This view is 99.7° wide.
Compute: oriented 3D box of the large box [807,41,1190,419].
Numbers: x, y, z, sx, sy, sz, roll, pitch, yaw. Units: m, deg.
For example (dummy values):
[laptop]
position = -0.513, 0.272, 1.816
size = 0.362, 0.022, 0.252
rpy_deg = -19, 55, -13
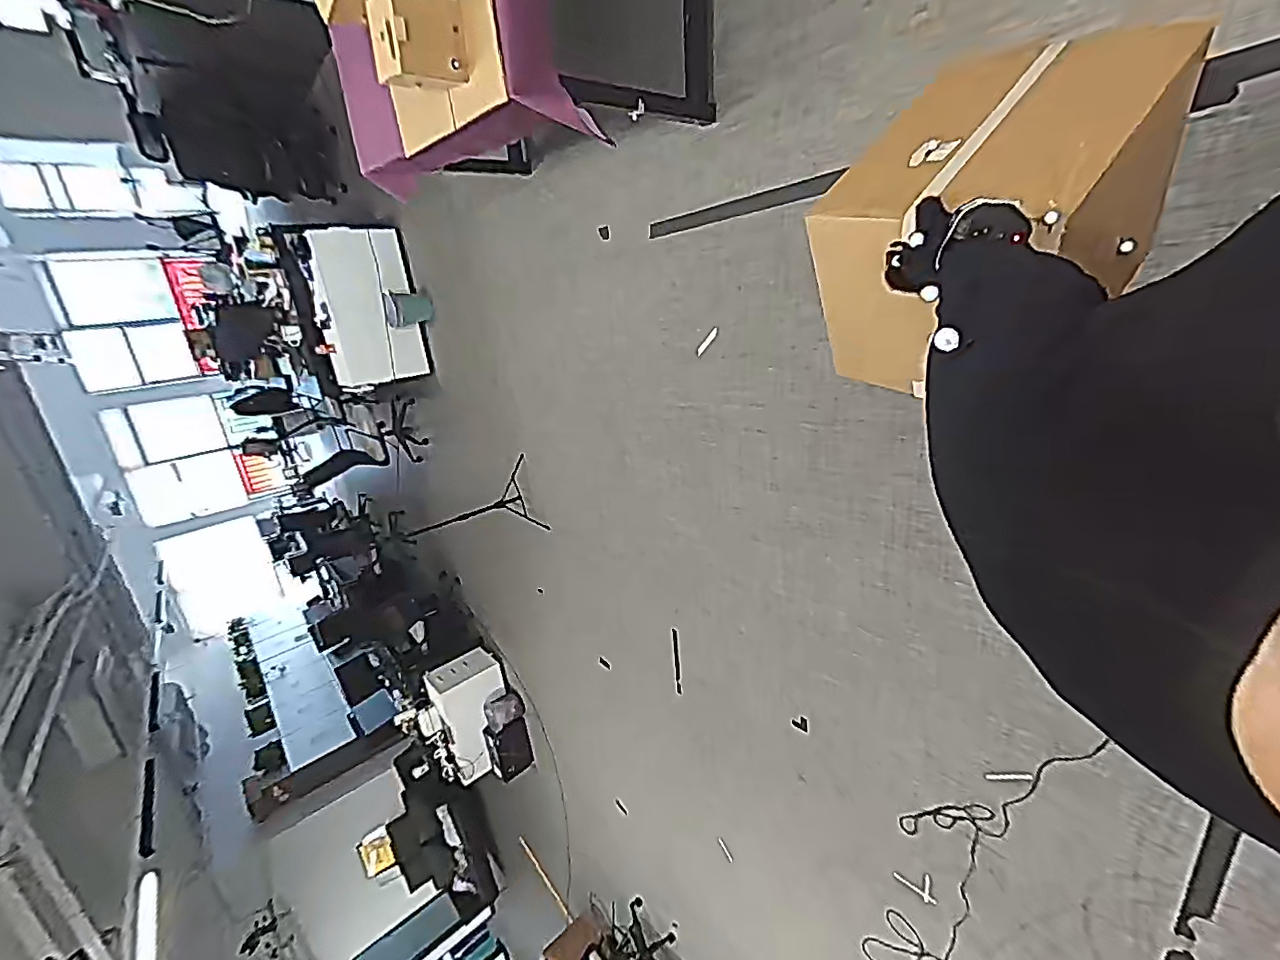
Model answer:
[large box]
position = 0.522, -0.368, 0.828
size = 0.320, 0.408, 0.320
rpy_deg = 28, 161, 43
